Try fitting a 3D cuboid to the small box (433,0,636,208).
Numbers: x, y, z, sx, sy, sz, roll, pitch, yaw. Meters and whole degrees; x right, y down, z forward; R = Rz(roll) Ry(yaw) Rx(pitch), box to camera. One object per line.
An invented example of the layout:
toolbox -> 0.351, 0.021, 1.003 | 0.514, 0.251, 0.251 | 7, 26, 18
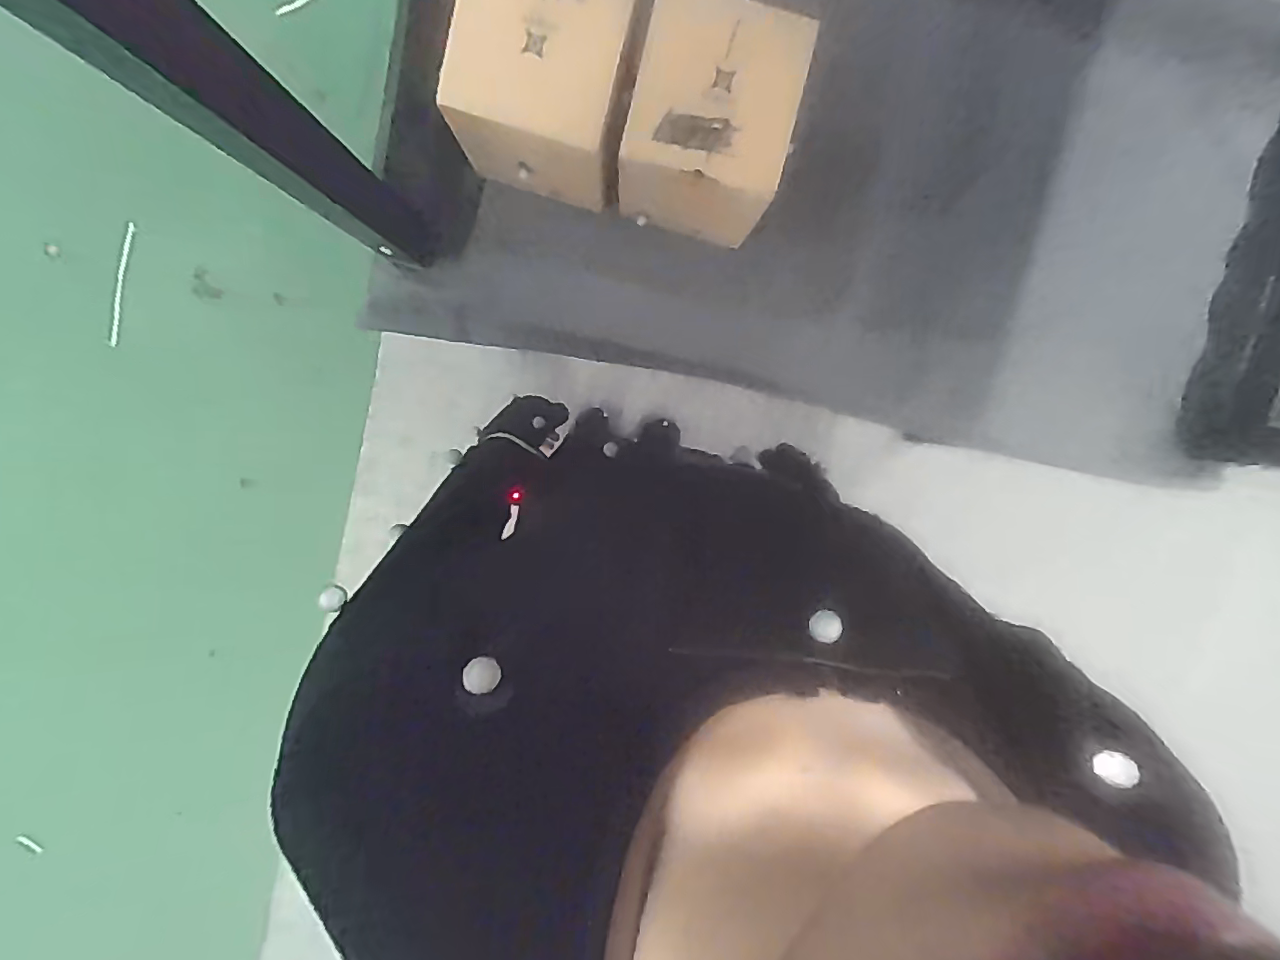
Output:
small box -> -0.104, -0.434, 0.599 | 0.168, 0.176, 0.179 | 15, 96, -5
